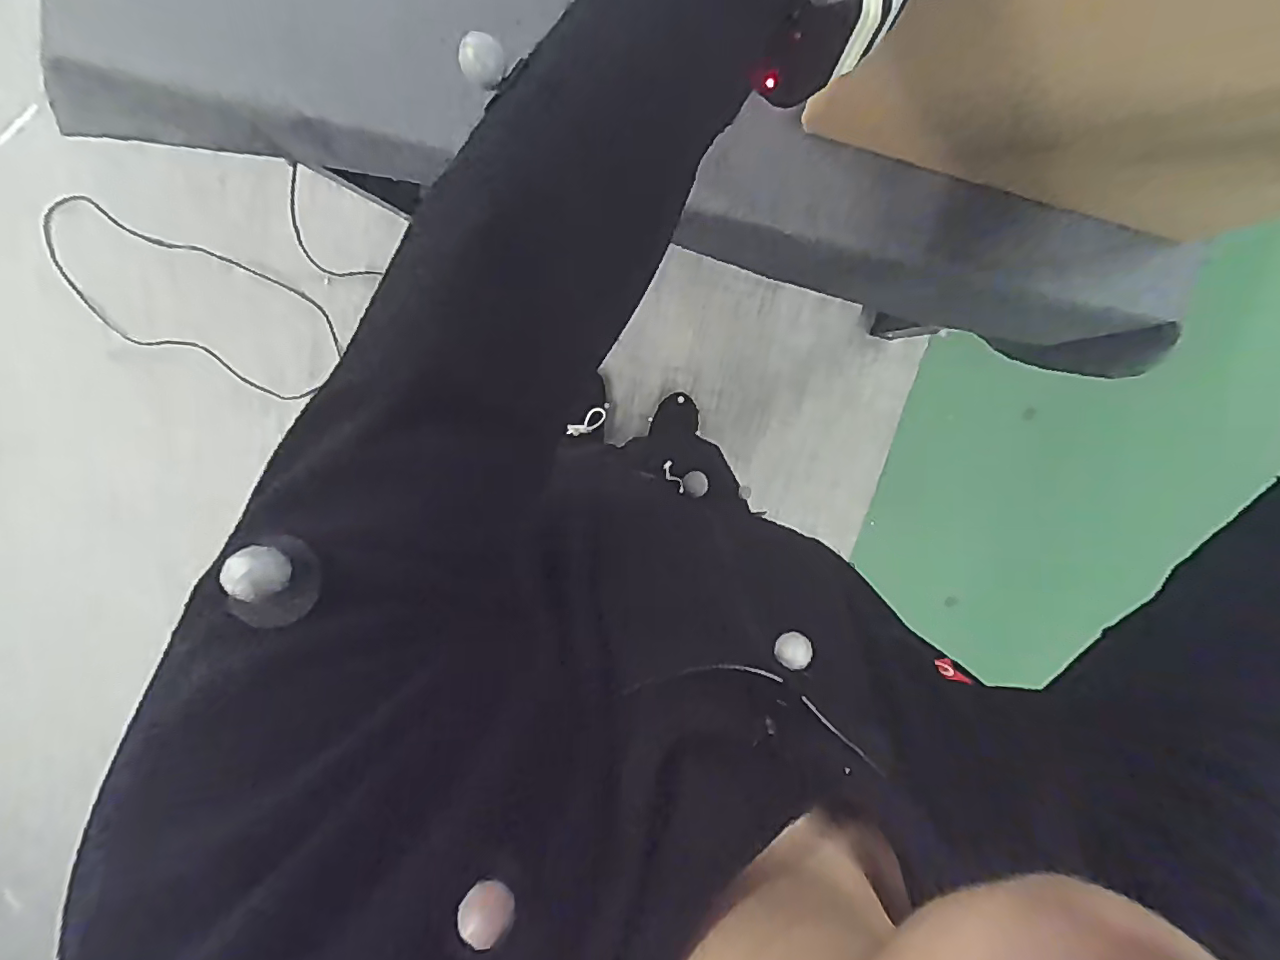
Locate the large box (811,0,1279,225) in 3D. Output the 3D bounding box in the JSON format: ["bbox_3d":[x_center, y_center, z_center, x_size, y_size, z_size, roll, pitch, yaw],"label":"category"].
[{"bbox_3d":[0.383,-0.409,0.353,0.408,0.320,0.320,16,104,0],"label":"large box"}]
